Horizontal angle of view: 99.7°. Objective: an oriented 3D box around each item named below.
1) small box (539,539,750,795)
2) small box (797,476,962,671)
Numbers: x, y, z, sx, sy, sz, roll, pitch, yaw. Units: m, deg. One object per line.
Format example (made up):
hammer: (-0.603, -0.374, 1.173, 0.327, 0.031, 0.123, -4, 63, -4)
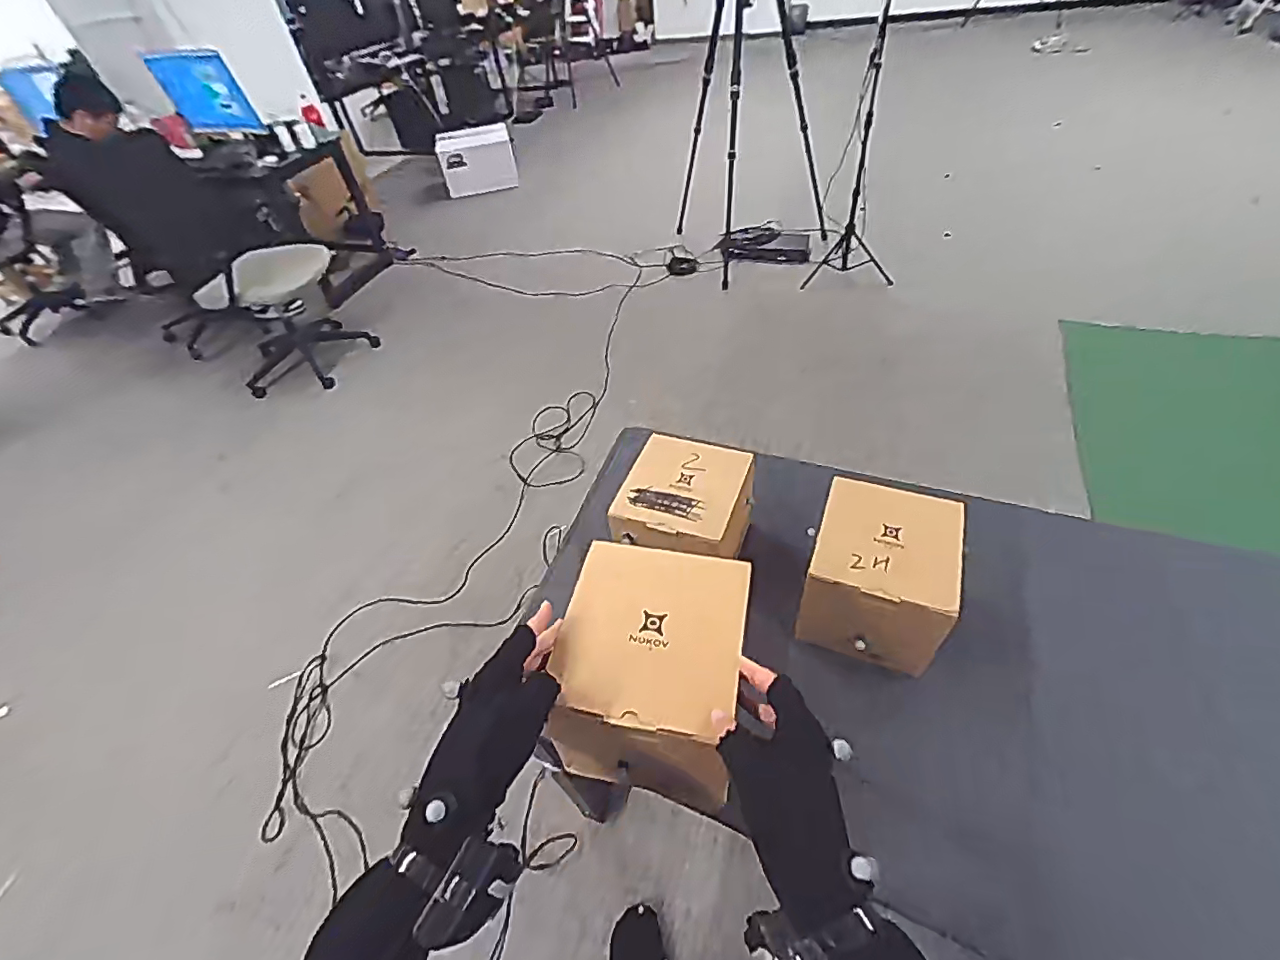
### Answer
small box: (0.015, 0.189, 0.553, 0.168, 0.176, 0.179, 7, 47, 12)
small box: (0.319, 0.126, 0.739, 0.168, 0.176, 0.179, 14, 51, 20)
